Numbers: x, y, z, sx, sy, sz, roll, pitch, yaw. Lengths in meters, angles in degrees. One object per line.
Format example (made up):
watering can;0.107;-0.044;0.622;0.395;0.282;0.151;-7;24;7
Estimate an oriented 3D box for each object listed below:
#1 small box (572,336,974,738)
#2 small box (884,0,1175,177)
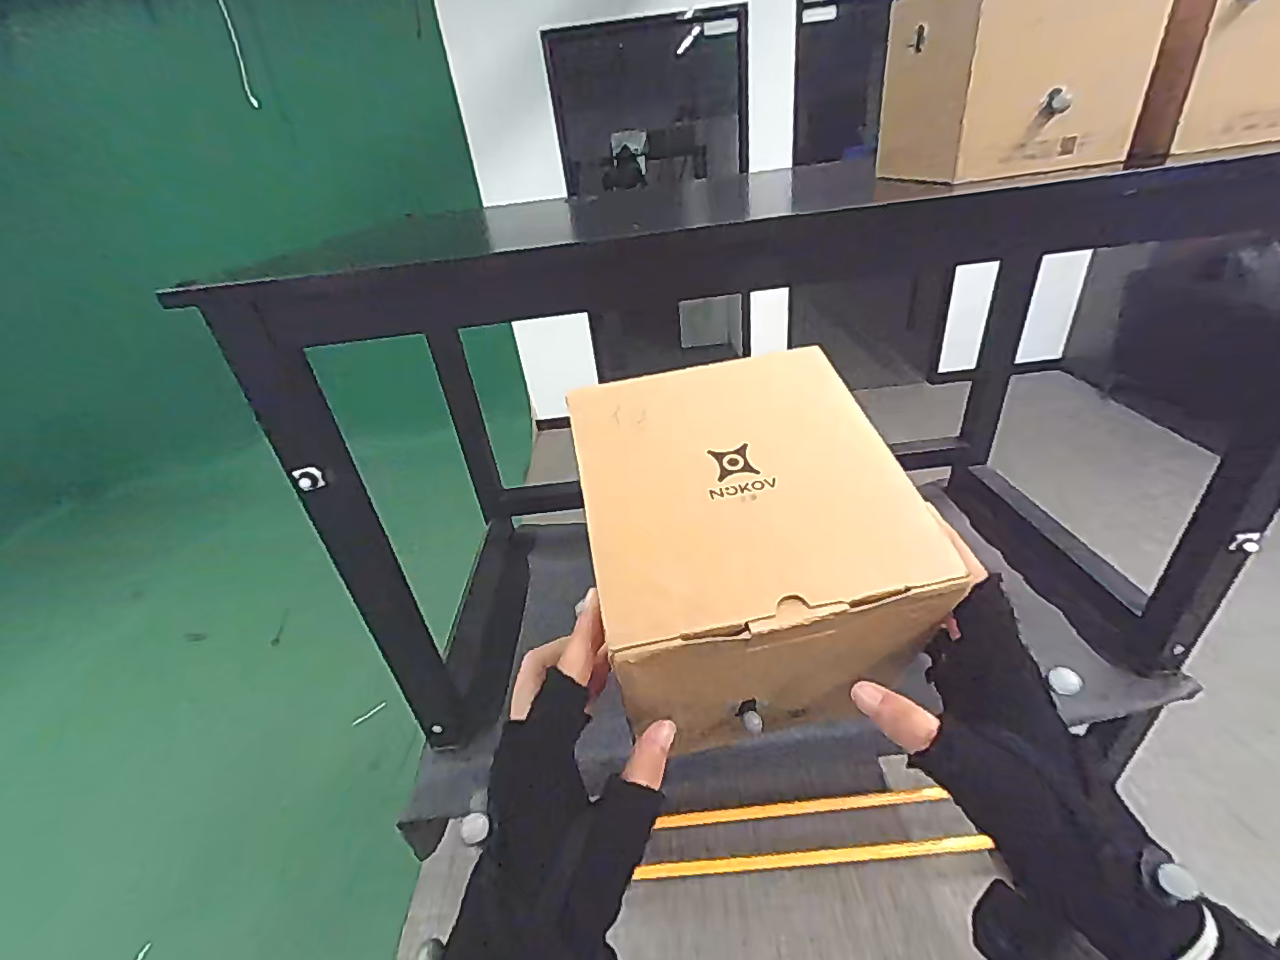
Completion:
small box;0.056;0.038;0.344;0.168;0.176;0.179;-11;51;-4
small box;0.364;-0.406;0.539;0.168;0.176;0.179;-7;31;1
